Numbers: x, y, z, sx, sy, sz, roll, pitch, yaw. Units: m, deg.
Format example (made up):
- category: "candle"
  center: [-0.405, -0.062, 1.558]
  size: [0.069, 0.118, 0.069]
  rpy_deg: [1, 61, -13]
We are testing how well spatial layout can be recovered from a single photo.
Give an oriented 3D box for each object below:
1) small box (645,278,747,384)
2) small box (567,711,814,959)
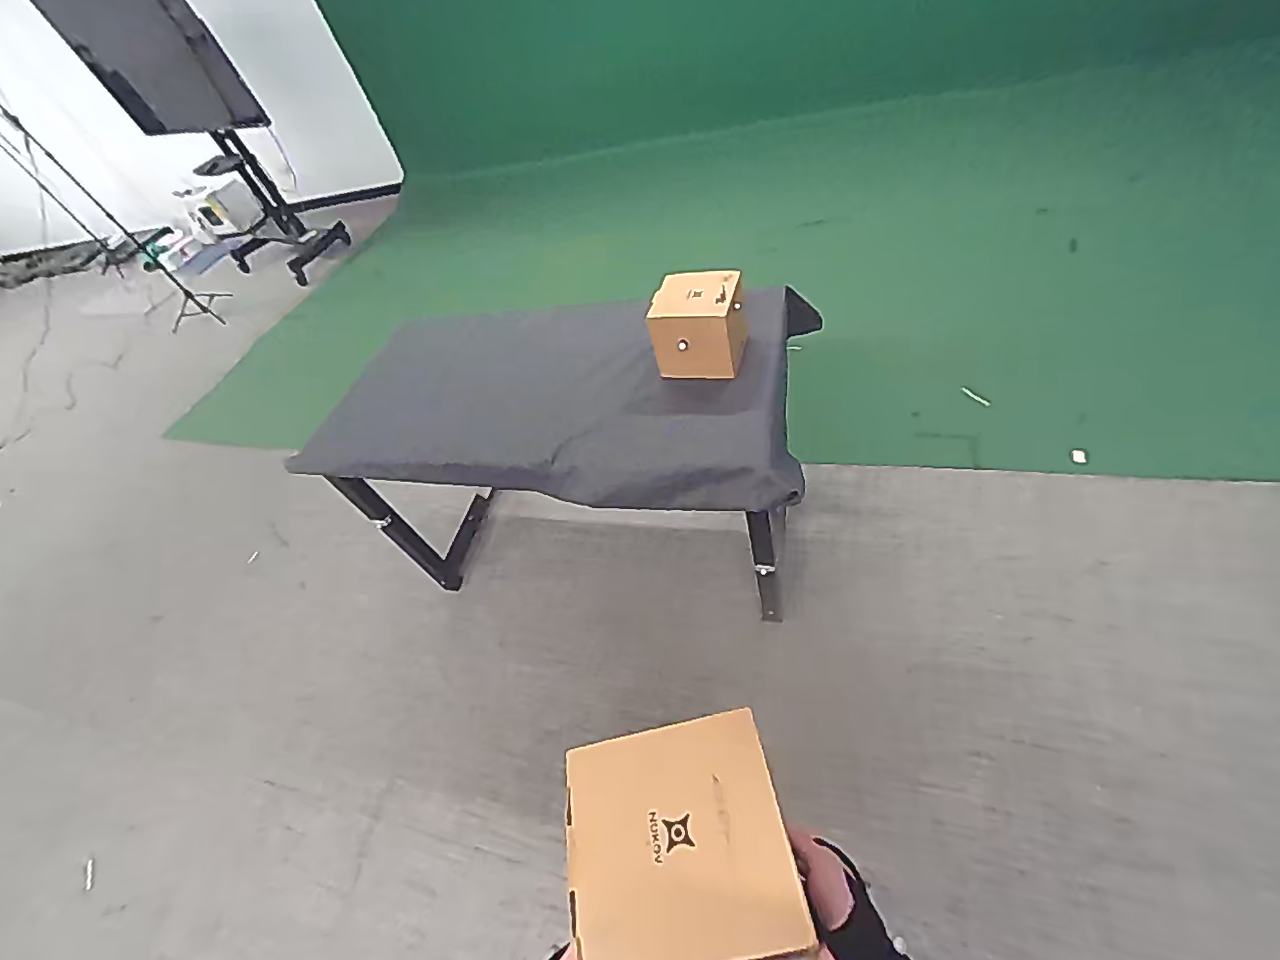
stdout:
- category: "small box"
  center: [0.134, -0.332, 1.222]
  size: [0.179, 0.176, 0.168]
  rpy_deg: [5, 53, 23]
- category: "small box"
  center: [0.046, 0.338, 0.489]
  size: [0.179, 0.176, 0.168]
  rpy_deg: [-15, 47, 3]
